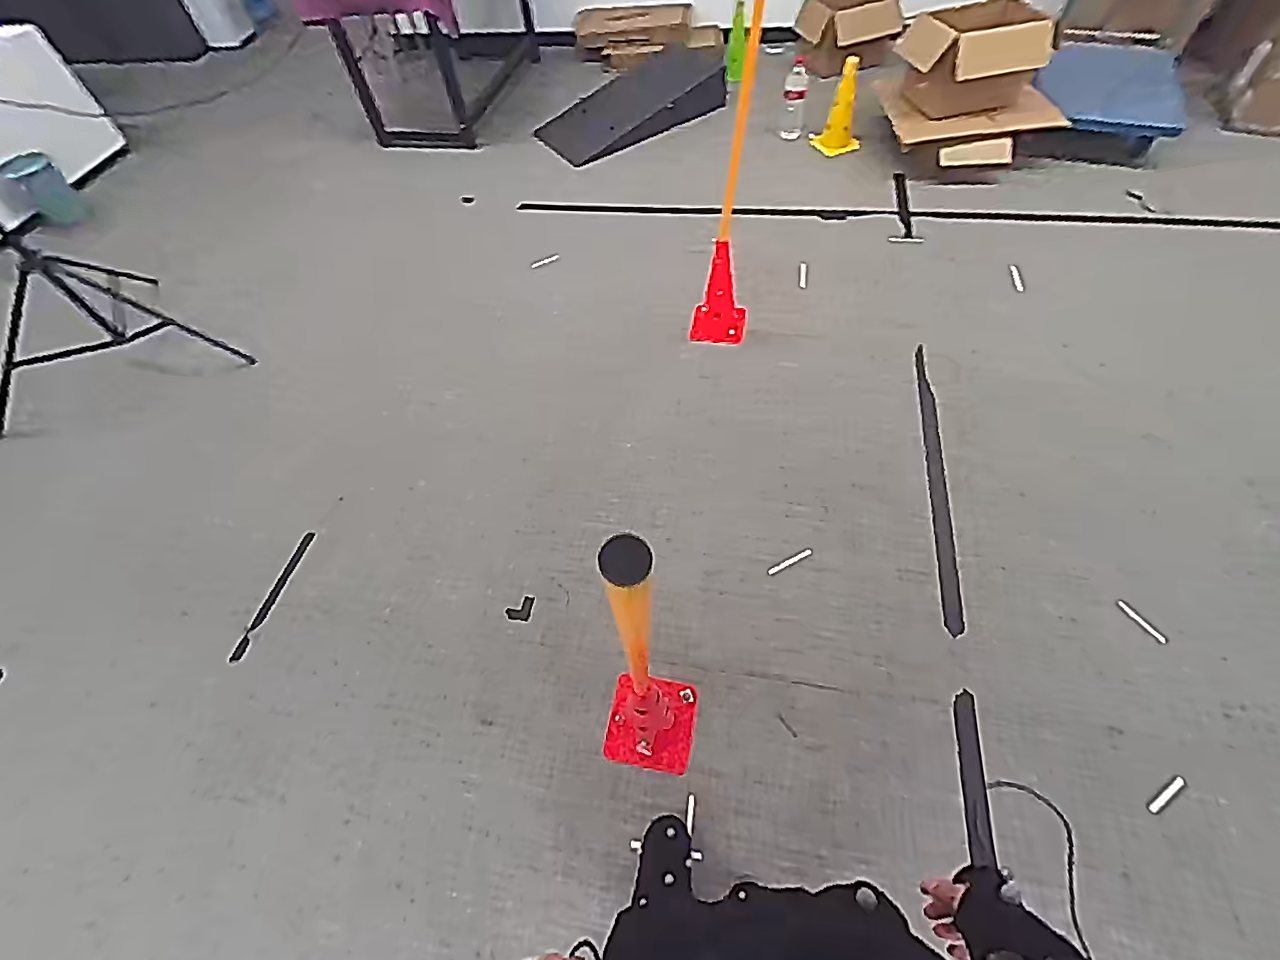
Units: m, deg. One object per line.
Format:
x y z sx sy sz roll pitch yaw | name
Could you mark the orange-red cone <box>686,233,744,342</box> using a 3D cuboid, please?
0.273 -0.690 1.887 0.198 0.360 0.199 9 57 11 | orange-red cone
